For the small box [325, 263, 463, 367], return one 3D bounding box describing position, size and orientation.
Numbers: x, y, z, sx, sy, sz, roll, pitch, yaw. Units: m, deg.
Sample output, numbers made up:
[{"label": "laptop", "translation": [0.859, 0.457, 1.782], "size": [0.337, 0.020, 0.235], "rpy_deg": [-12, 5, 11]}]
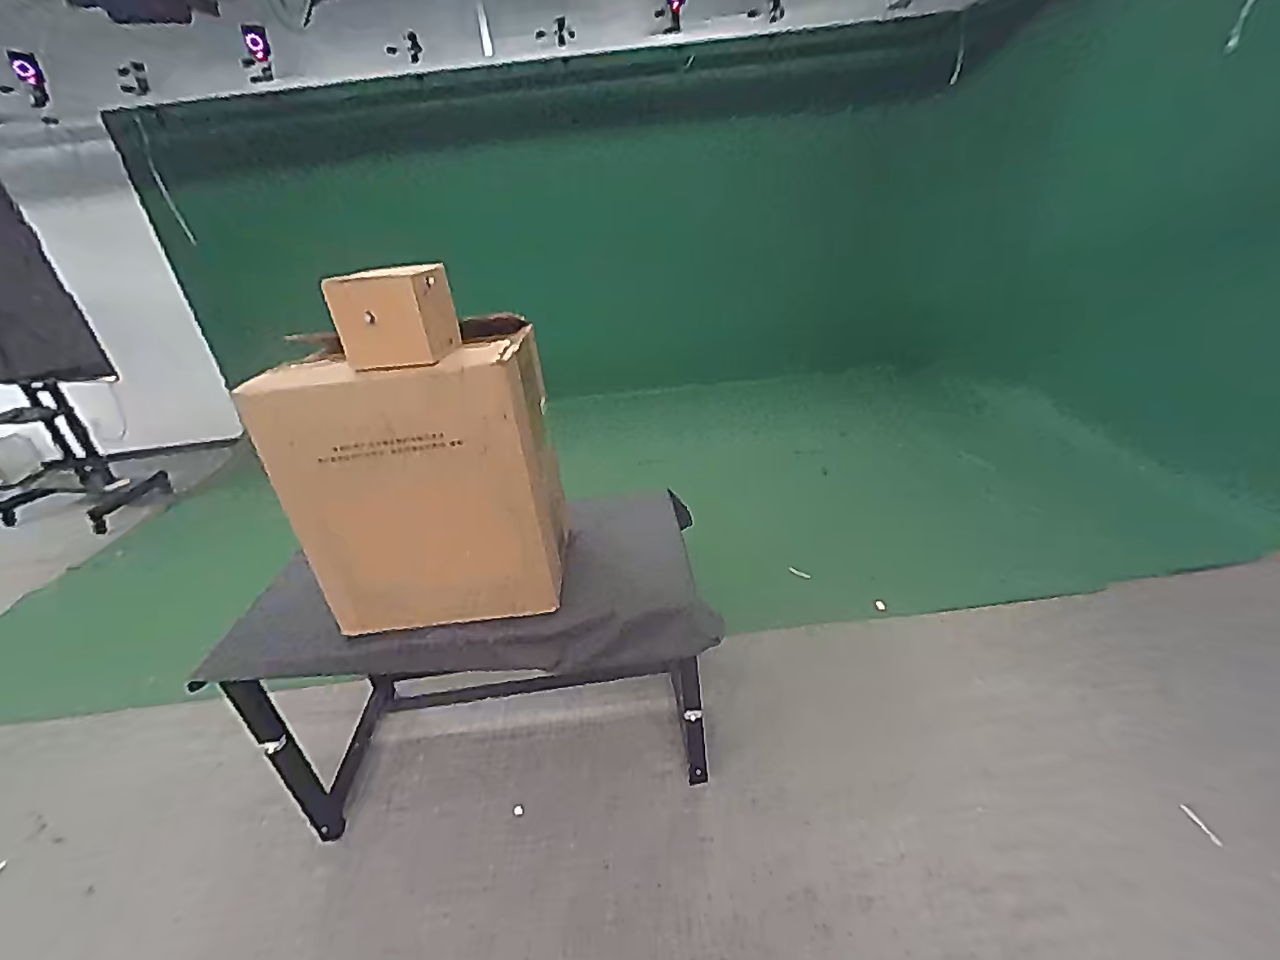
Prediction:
[{"label": "small box", "translation": [-0.487, -0.334, 1.098], "size": [0.179, 0.176, 0.168], "rpy_deg": [-4, 28, 5]}]
